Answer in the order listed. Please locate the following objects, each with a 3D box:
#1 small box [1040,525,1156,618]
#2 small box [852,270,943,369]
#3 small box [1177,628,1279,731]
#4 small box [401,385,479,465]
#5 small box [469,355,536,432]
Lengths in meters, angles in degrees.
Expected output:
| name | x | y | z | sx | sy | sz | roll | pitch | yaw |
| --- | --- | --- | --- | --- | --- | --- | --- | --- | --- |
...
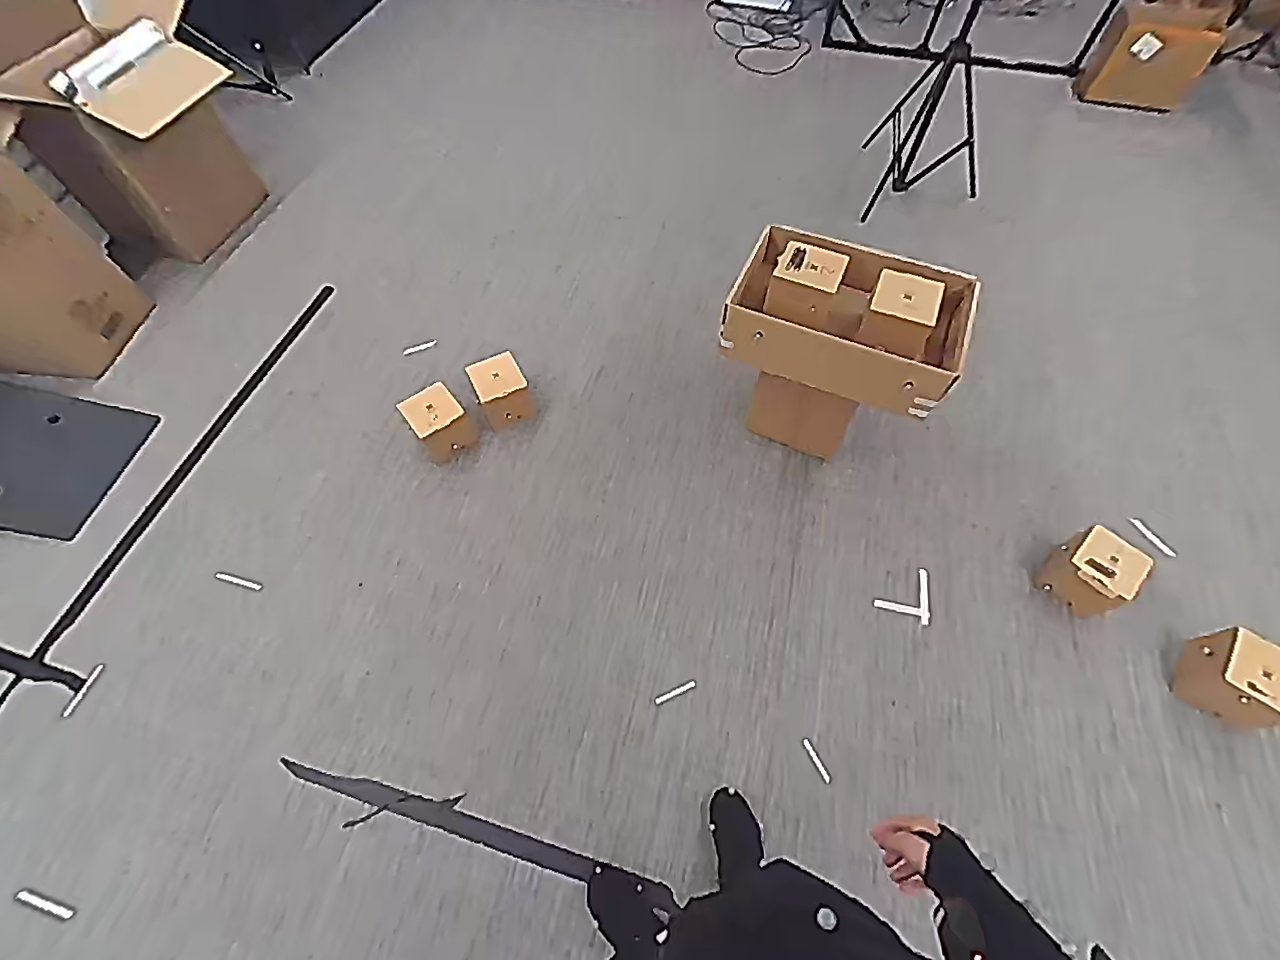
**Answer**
| name | x | y | z | sx | sy | sz | roll | pitch | yaw |
| --- | --- | --- | --- | --- | --- | --- | --- | --- | --- |
| small box | 1.306 | 0.268 | 1.559 | 0.179 | 0.176 | 0.168 | -39 | 67 | -20 |
| small box | 0.705 | -0.441 | 1.489 | 0.168 | 0.176 | 0.179 | 21 | 59 | 14 |
| small box | 1.569 | 0.523 | 1.409 | 0.168 | 0.176 | 0.179 | 36 | 65 | 19 |
| small box | -0.676 | -0.184 | 1.840 | 0.168 | 0.176 | 0.179 | -35 | 66 | -17 |
| small box | -0.482 | -0.303 | 1.910 | 0.168 | 0.176 | 0.179 | -25 | 64 | -14 |
